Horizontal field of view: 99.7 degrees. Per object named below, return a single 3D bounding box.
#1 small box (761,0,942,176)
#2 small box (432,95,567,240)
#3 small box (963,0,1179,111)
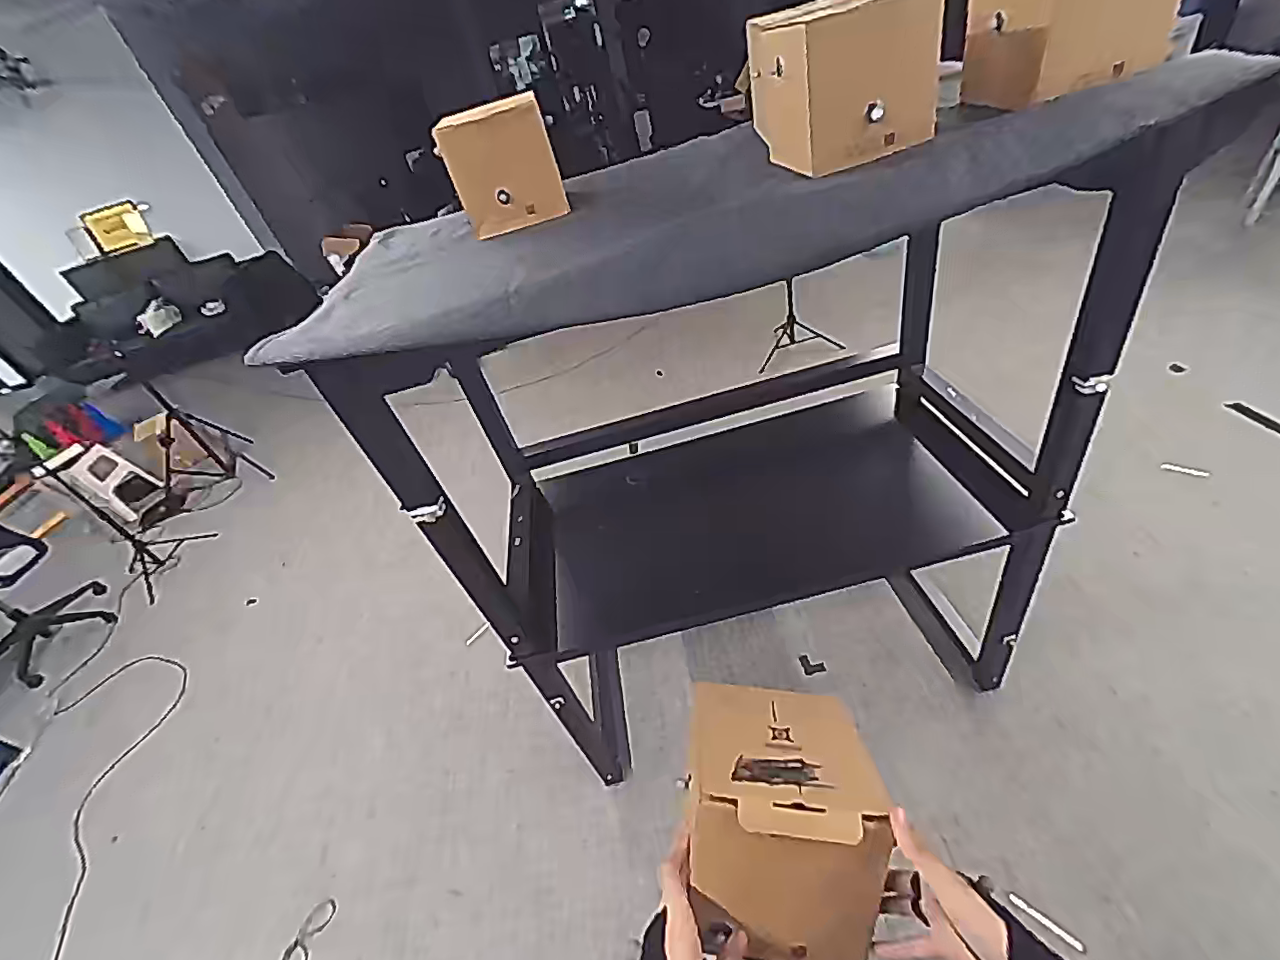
[{"bbox_3d":[0.273,-0.530,0.730,0.168,0.176,0.179,-16,38,3],"label":"small box"},{"bbox_3d":[-0.230,-0.534,0.926,0.168,0.176,0.179,-17,40,1],"label":"small box"},{"bbox_3d":[0.561,-0.612,0.718,0.168,0.176,0.179,-15,38,4],"label":"small box"}]
